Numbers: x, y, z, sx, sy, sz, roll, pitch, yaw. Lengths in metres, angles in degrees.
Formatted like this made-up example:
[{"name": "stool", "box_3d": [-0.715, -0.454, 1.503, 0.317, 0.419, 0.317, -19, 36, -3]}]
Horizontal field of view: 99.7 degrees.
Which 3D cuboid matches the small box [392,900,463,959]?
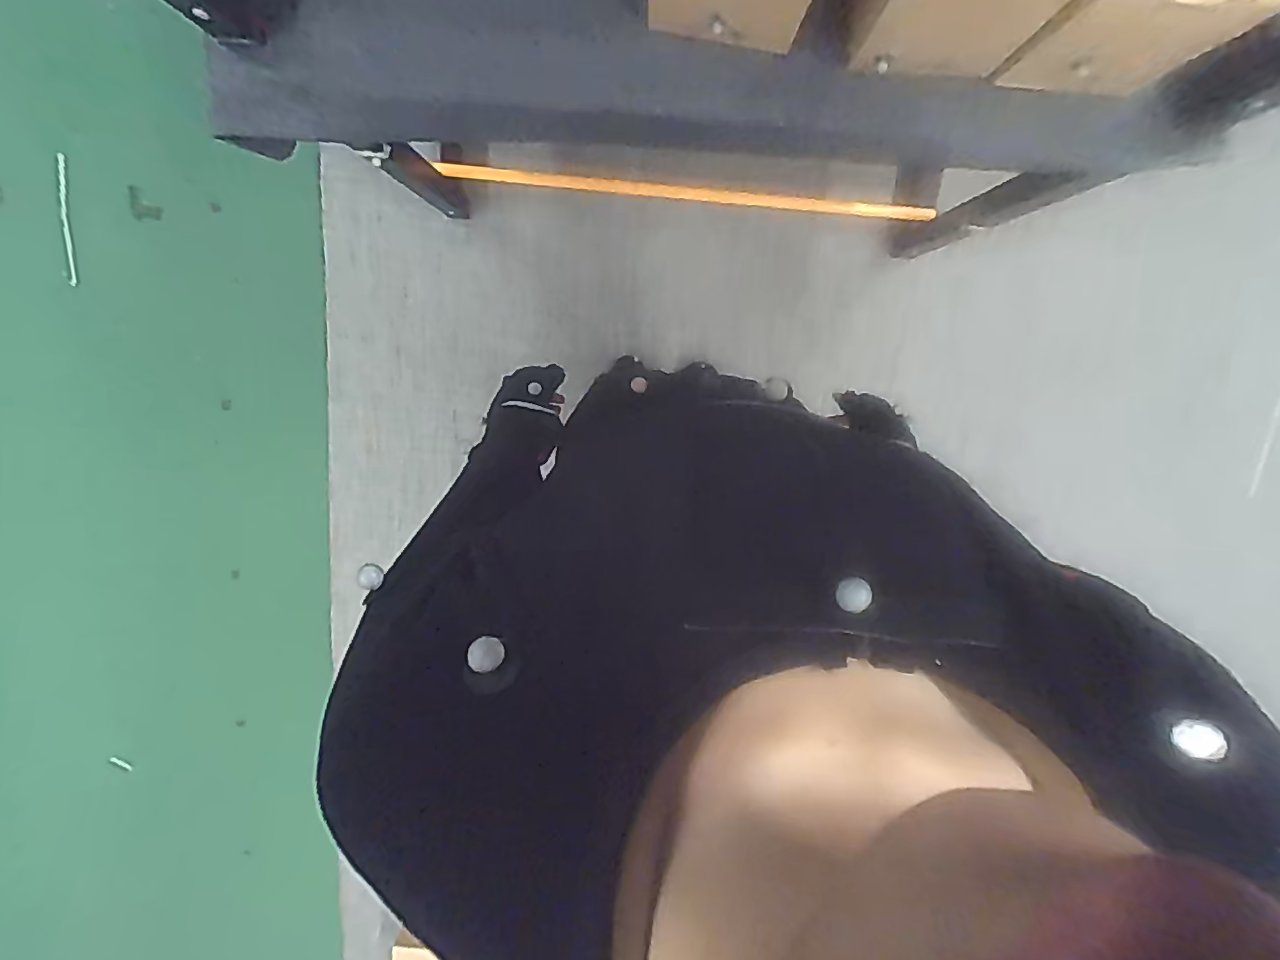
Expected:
[{"name": "small box", "box_3d": [-0.680, 1.501, 1.735, 0.168, 0.176, 0.179, 7, 102, 1]}]
